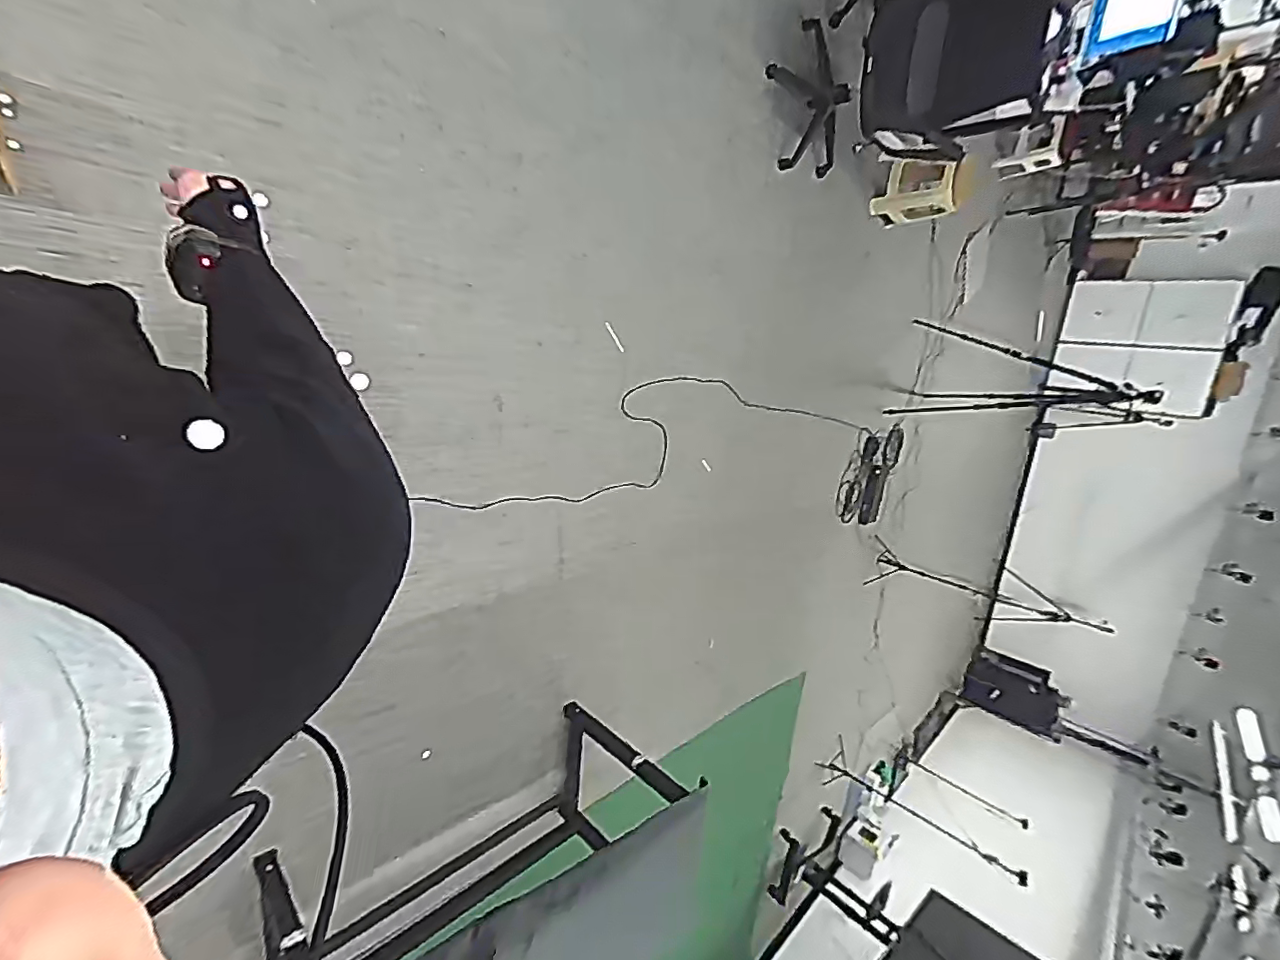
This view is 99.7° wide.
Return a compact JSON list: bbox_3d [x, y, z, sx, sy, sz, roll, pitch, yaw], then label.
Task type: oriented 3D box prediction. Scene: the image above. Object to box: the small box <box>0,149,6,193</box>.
[{"bbox_3d":[-1.129,-0.563,0.842,0.168,0.176,0.179,-9,110,-47],"label":"small box"}]
